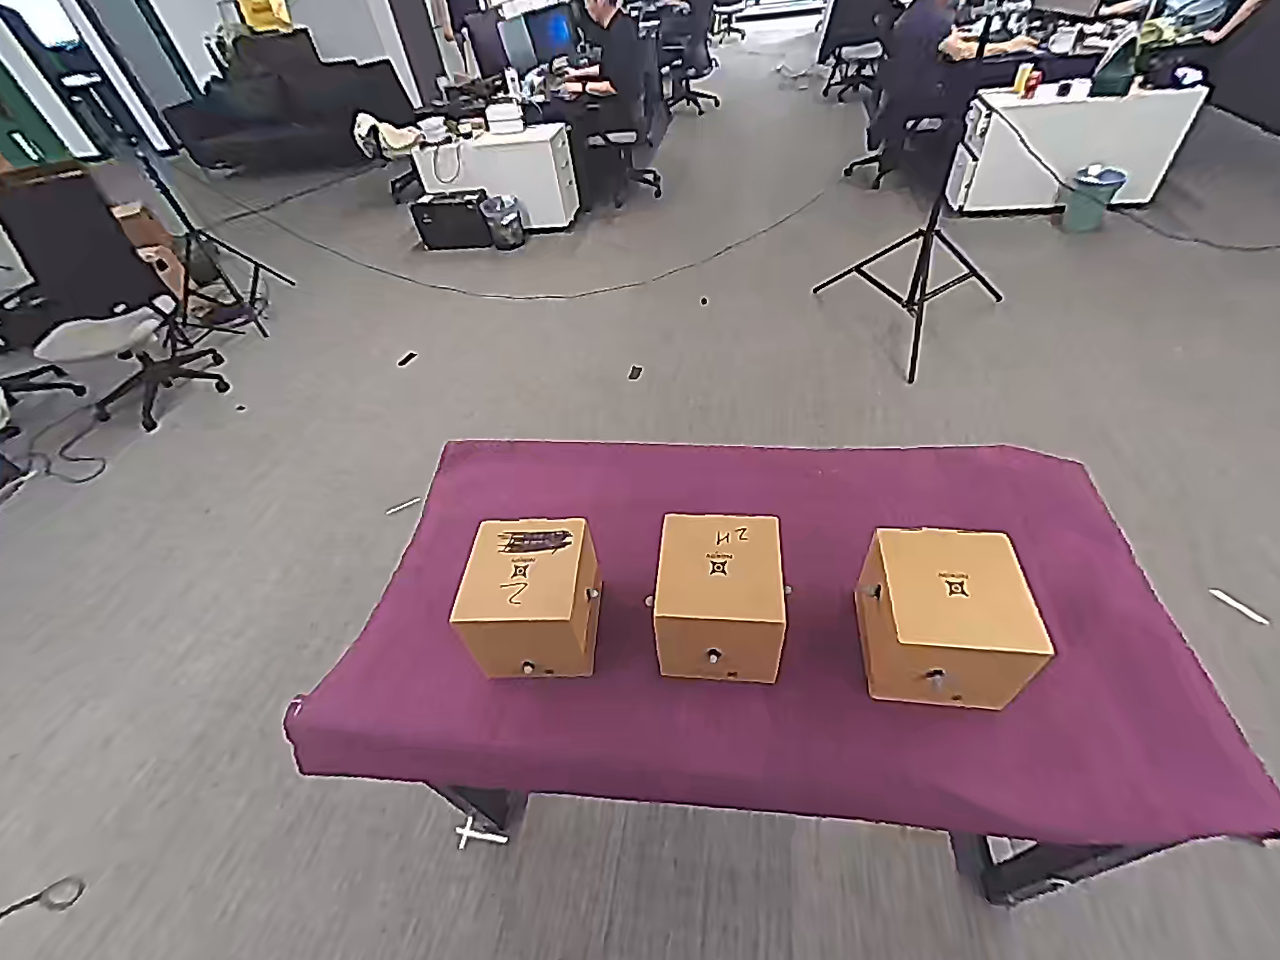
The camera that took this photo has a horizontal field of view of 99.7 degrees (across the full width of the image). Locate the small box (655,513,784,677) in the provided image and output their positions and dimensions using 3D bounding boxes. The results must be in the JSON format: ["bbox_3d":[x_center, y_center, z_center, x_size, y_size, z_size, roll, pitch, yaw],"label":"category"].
[{"bbox_3d":[0.118,0.169,0.790,0.168,0.176,0.179,2,45,8],"label":"small box"}]

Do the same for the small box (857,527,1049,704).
[{"bbox_3d":[0.403,0.185,0.735,0.168,0.176,0.179,1,46,10],"label":"small box"}]
